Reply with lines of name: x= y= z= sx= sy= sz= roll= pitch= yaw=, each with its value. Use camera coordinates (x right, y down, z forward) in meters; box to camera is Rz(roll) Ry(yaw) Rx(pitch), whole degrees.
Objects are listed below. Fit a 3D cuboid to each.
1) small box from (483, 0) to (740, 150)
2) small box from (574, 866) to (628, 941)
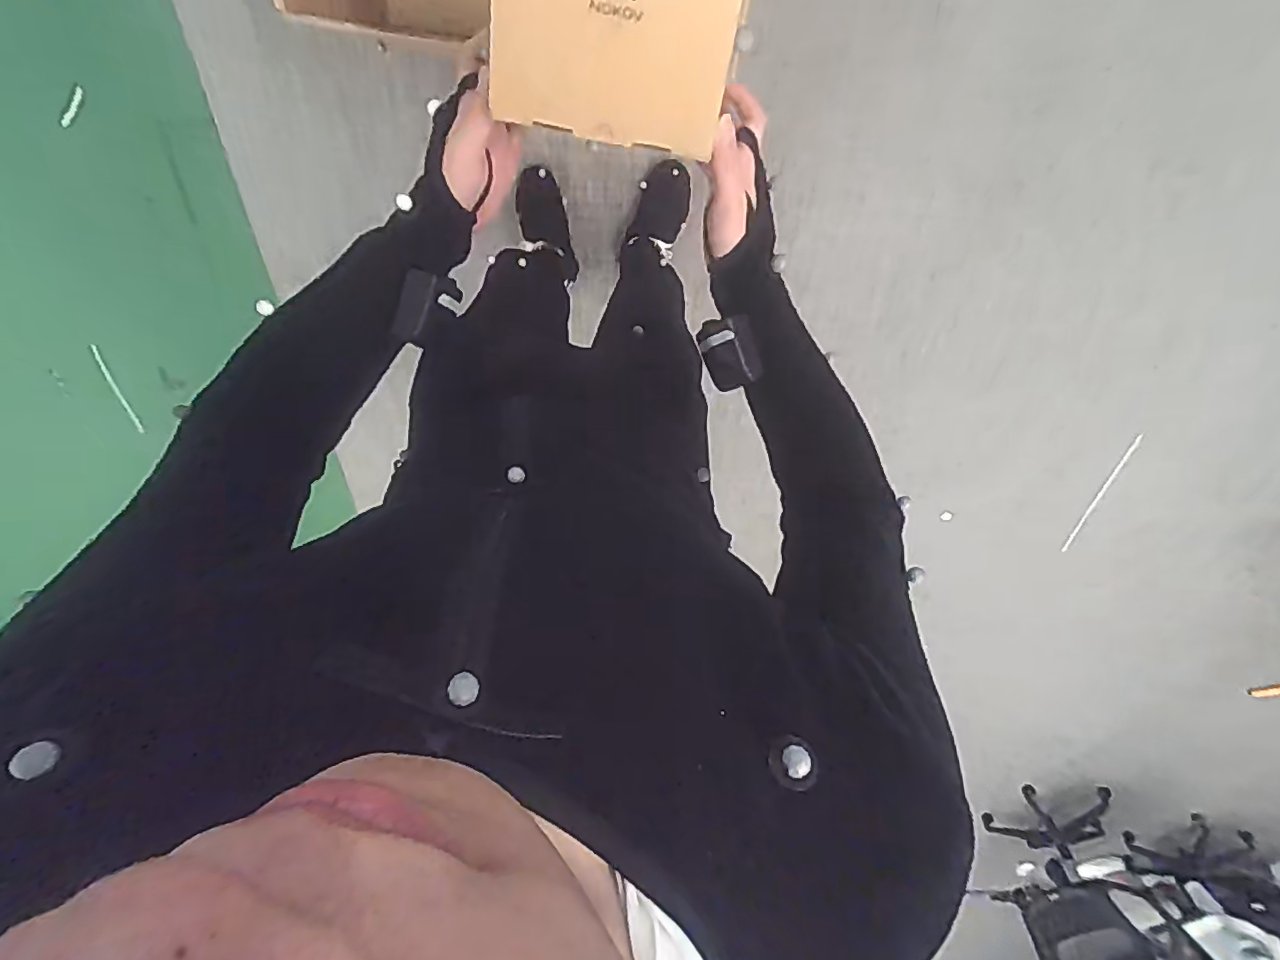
small box: x=-0.017 y=-0.367 z=0.408 sx=0.168 sy=0.176 sz=0.179 roll=7 pitch=123 yaw=-6
small box: x=-0.134 y=1.490 z=1.905 sx=0.168 sy=0.176 sz=0.179 roll=0 pitch=127 yaw=5
